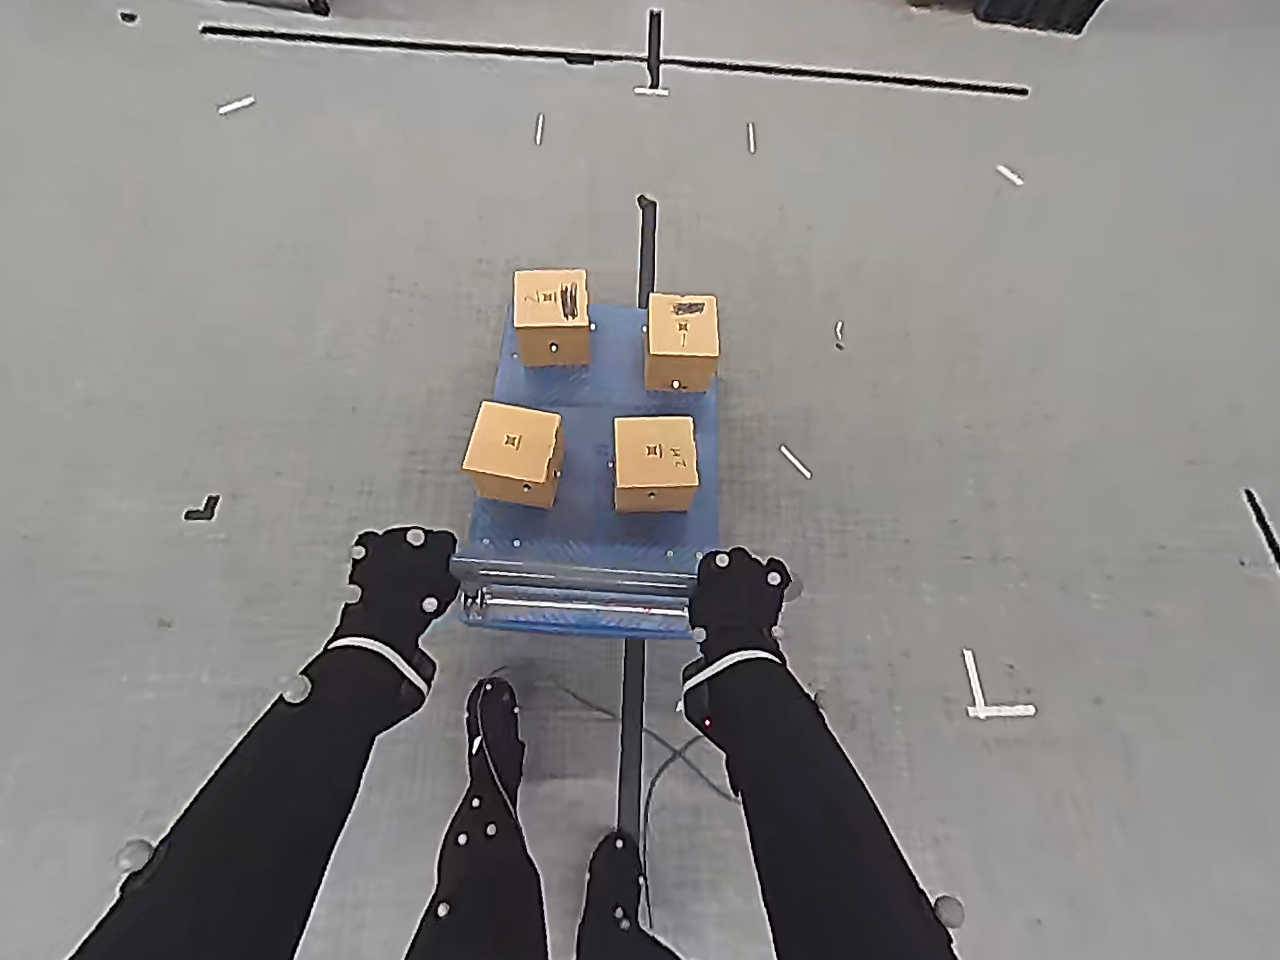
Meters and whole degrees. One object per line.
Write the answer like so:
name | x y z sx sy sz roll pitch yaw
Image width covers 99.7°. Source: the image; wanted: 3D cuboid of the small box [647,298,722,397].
small box | 0.106 -0.331 1.363 0.168 0.176 0.179 2 70 -3

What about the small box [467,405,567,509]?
small box | -0.269 -0.046 1.227 0.179 0.176 0.168 11 68 -1

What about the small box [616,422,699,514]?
small box | 0.034 -0.023 1.239 0.179 0.176 0.168 -1 69 -4
